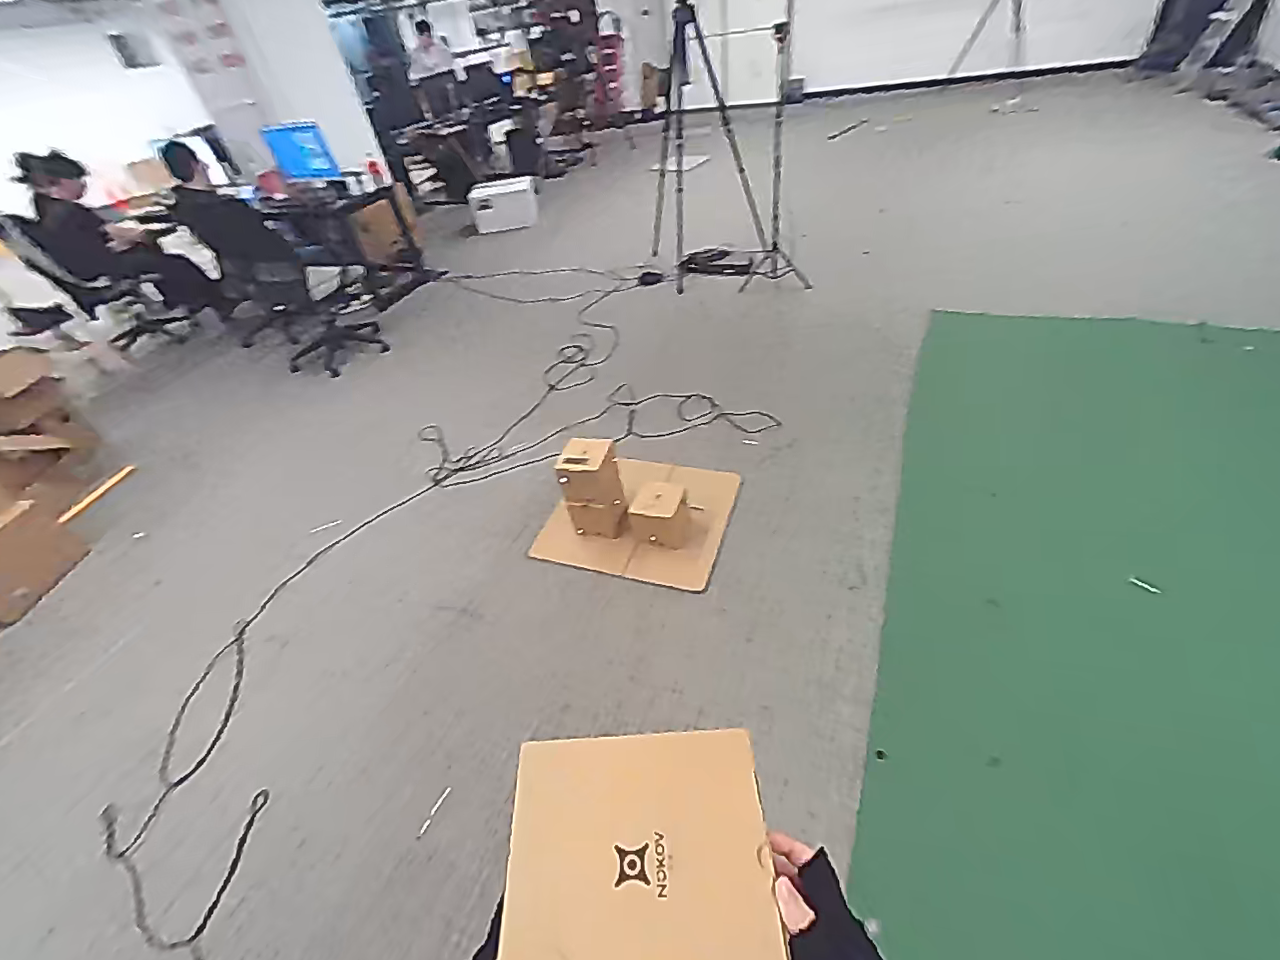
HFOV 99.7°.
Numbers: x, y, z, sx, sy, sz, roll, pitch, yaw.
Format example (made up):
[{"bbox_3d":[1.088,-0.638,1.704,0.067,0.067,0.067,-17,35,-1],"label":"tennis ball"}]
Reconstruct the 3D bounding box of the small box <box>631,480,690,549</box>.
[{"bbox_3d":[0.081,0.126,1.982,0.168,0.176,0.179,7,45,22],"label":"small box"}]

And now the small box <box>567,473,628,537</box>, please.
[{"bbox_3d":[-0.154,0.097,2.063,0.168,0.176,0.179,5,43,18],"label":"small box"}]

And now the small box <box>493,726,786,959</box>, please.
[{"bbox_3d":[0.001,0.307,0.407,0.179,0.176,0.168,-4,44,0],"label":"small box"}]
